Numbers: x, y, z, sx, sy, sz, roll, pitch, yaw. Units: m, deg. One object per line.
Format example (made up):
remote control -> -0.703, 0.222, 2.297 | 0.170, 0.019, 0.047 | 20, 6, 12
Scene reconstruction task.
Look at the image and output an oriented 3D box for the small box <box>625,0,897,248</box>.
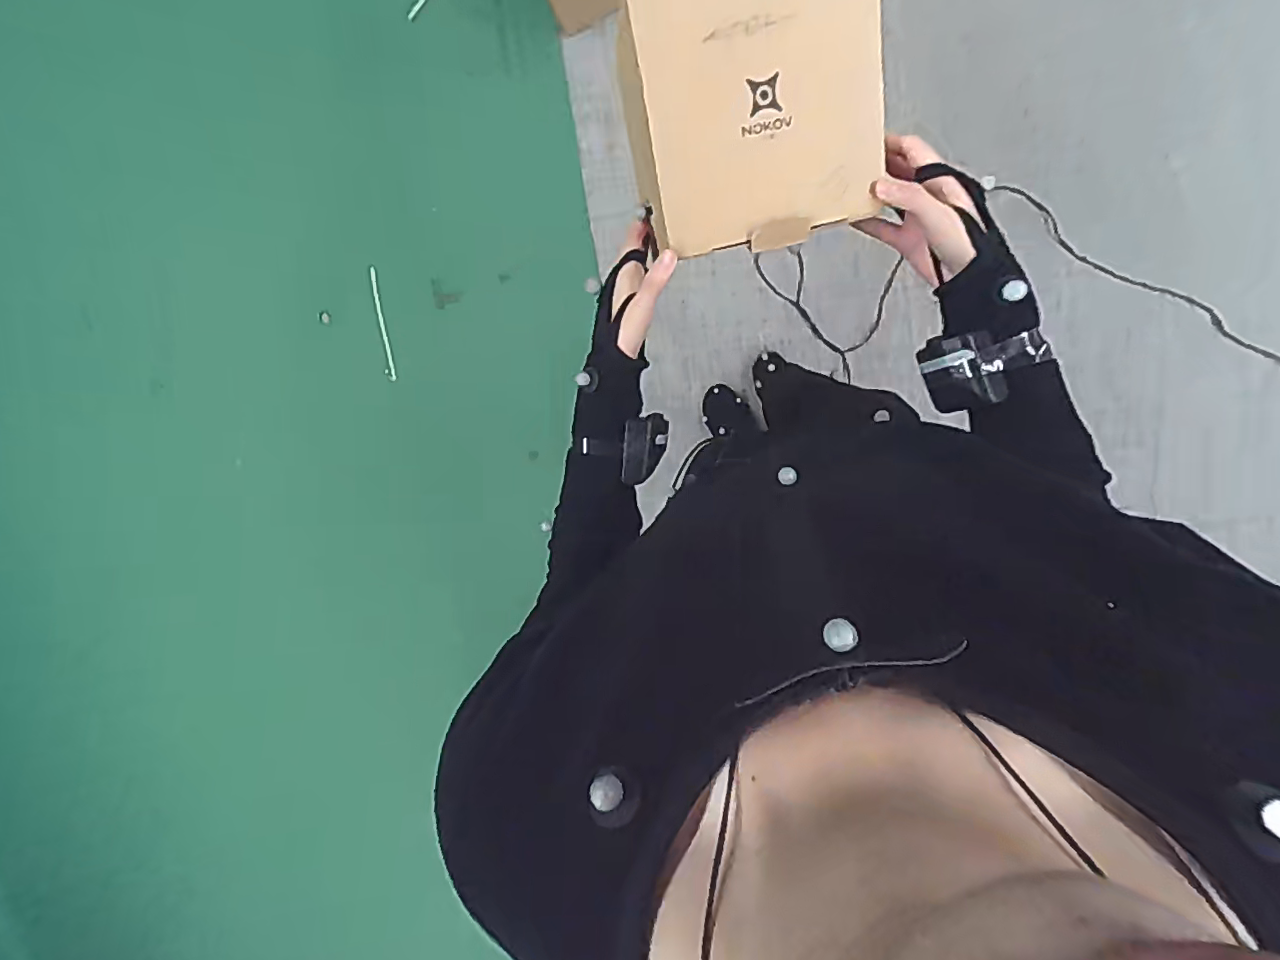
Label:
small box -> 0.084, -0.292, 0.435 | 0.168, 0.176, 0.179 | -11, 111, -1
